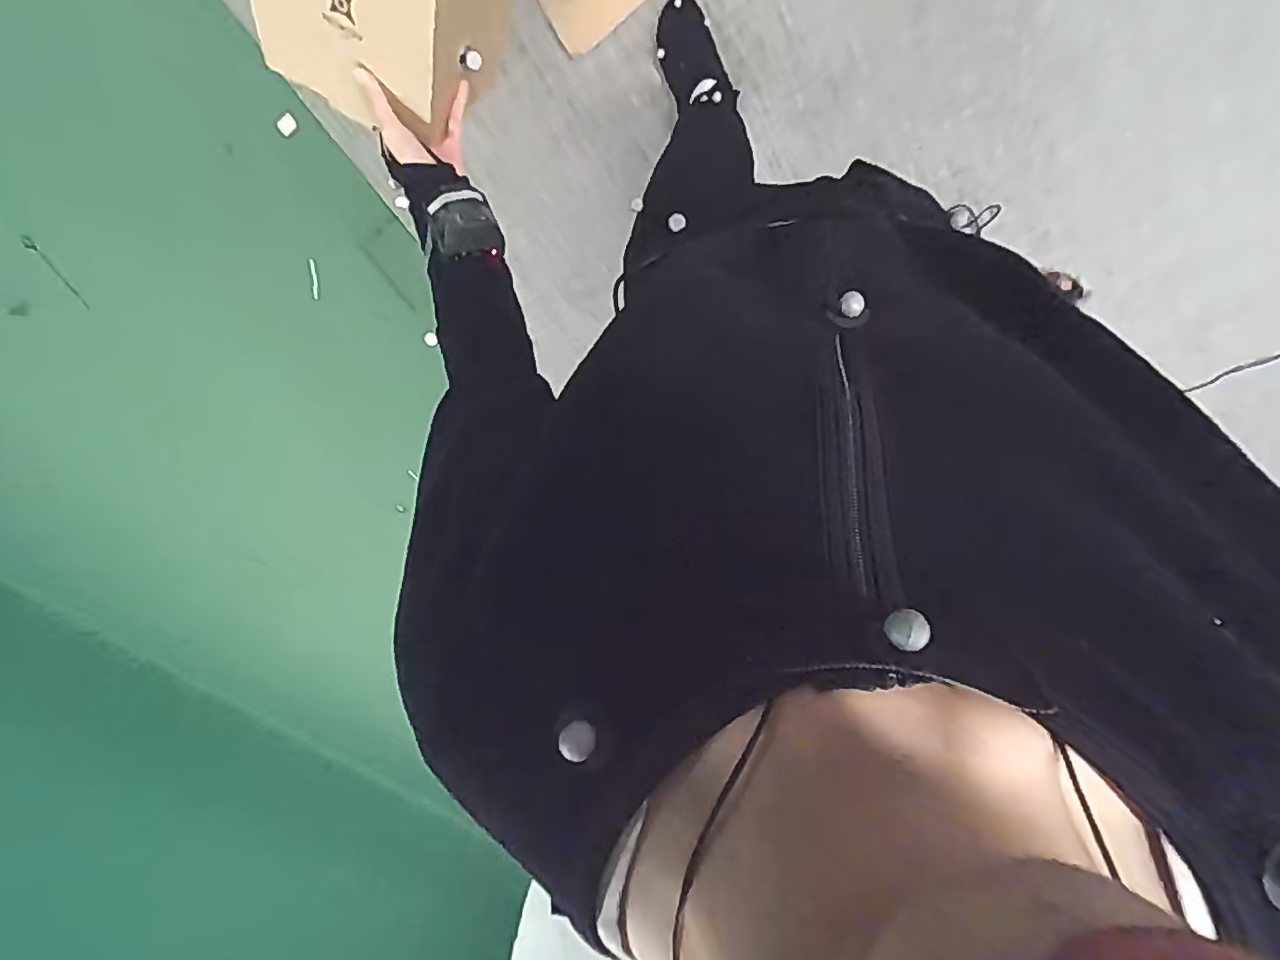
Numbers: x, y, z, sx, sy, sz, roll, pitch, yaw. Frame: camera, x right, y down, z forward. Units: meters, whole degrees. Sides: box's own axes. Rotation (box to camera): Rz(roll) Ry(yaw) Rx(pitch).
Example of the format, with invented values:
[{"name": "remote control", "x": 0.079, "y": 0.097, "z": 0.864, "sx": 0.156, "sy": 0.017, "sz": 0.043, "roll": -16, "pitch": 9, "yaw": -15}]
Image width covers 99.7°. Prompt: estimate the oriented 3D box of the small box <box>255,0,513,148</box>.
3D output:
[{"name": "small box", "x": -0.218, "y": -0.459, "z": 0.487, "sx": 0.168, "sy": 0.176, "sz": 0.179, "roll": 27, "pitch": 148, "yaw": -11}]
